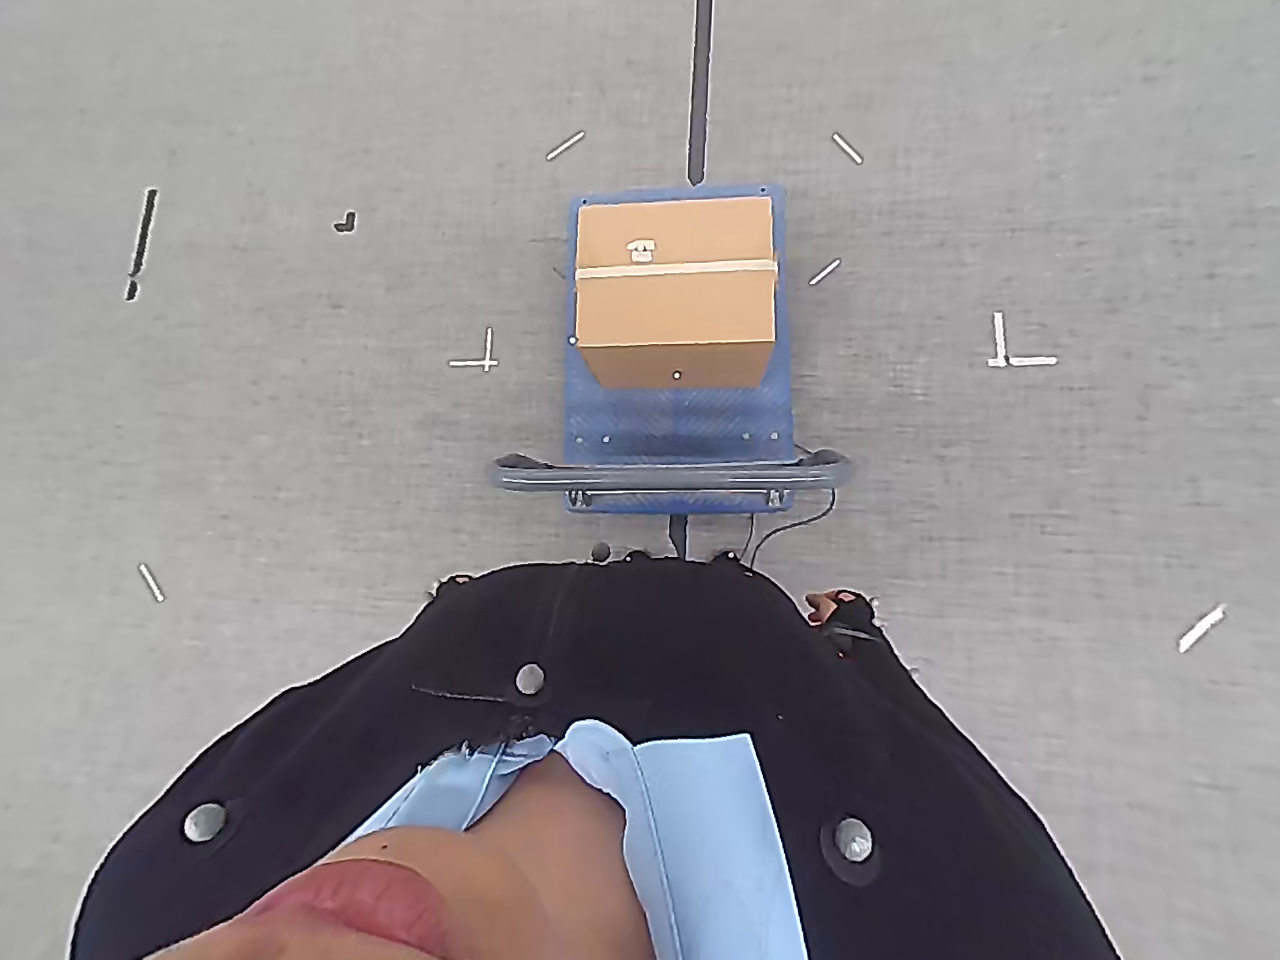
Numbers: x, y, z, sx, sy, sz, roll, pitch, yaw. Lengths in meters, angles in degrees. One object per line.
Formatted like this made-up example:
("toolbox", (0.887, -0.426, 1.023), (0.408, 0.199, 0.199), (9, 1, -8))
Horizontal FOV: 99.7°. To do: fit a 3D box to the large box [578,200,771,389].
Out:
("large box", (0.085, -0.410, 1.276), (0.408, 0.320, 0.320), (-1, 82, 7))
